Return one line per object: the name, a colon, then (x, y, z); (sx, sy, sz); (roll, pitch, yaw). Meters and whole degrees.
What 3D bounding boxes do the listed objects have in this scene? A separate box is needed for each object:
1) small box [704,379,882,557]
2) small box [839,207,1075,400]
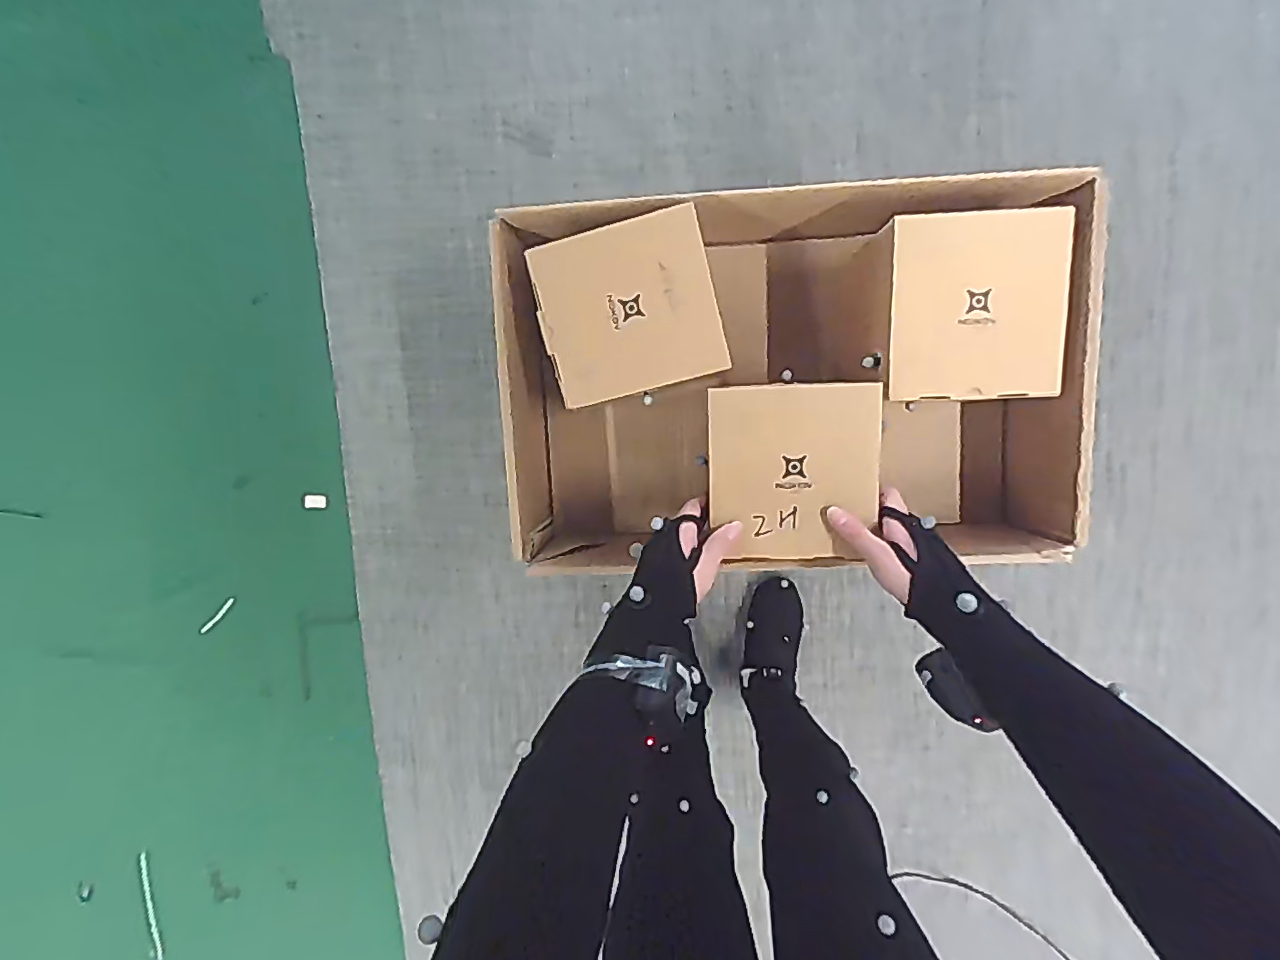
small box: (0.157, -0.024, 0.610); (0.168, 0.176, 0.179); (0, 102, 6)
small box: (0.328, -0.178, 0.595); (0.168, 0.176, 0.179); (-1, 99, 4)
